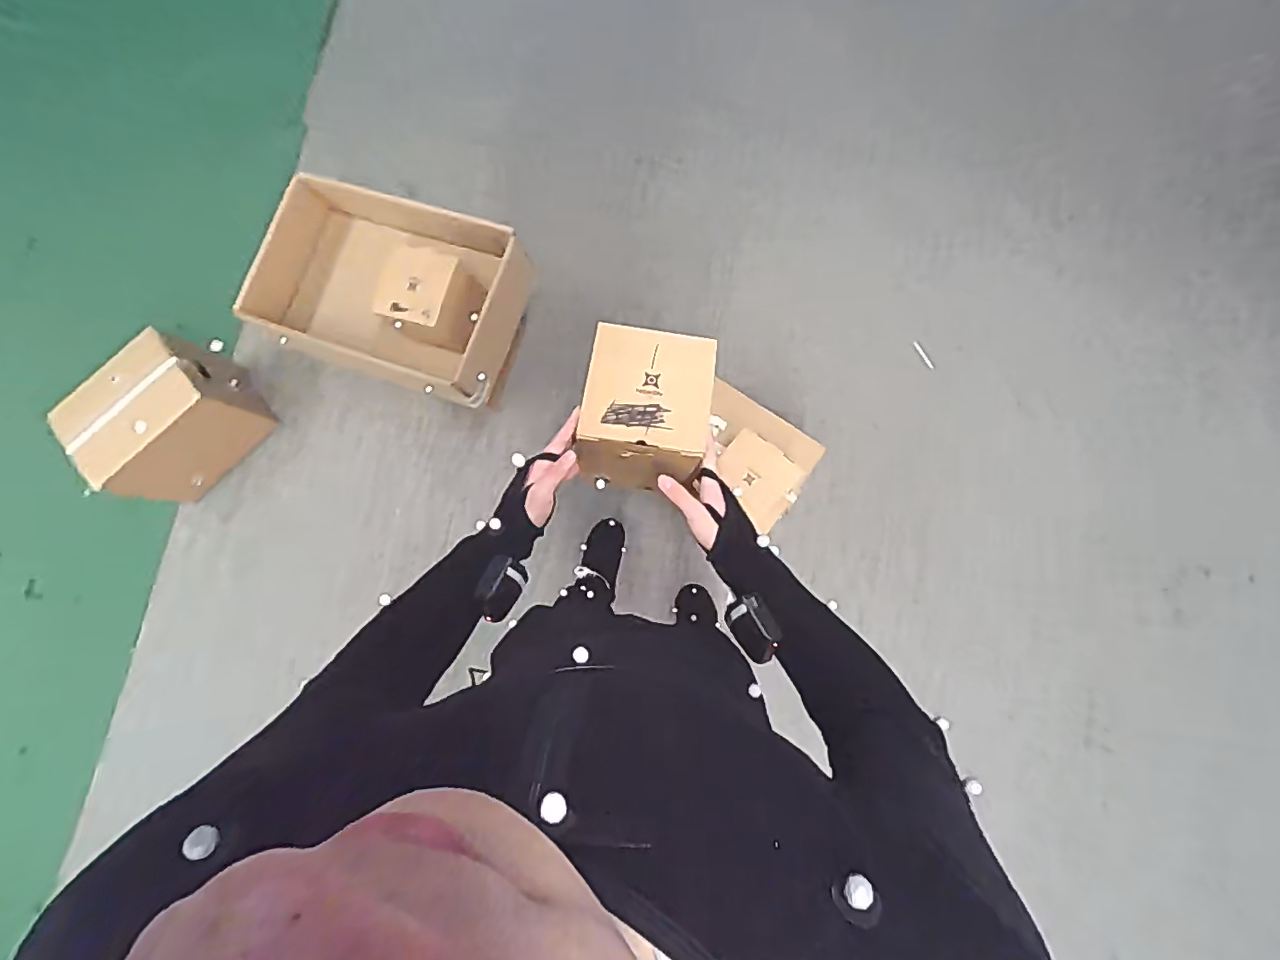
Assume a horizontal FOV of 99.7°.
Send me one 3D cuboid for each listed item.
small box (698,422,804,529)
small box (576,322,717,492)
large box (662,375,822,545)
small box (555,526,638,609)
[{"bbox_3d":[0.250,-0.003,1.257,0.168,0.176,0.179,42,90,11],"label":"small box"},{"bbox_3d":[0.008,-0.094,0.775,0.168,0.176,0.179,8,69,-1],"label":"small box"},{"bbox_3d":[0.230,-0.052,1.515,0.408,0.320,0.320,35,86,11],"label":"large box"},{"bbox_3d":[-0.120,0.259,1.599,0.168,0.176,0.179,41,86,11],"label":"small box"}]
